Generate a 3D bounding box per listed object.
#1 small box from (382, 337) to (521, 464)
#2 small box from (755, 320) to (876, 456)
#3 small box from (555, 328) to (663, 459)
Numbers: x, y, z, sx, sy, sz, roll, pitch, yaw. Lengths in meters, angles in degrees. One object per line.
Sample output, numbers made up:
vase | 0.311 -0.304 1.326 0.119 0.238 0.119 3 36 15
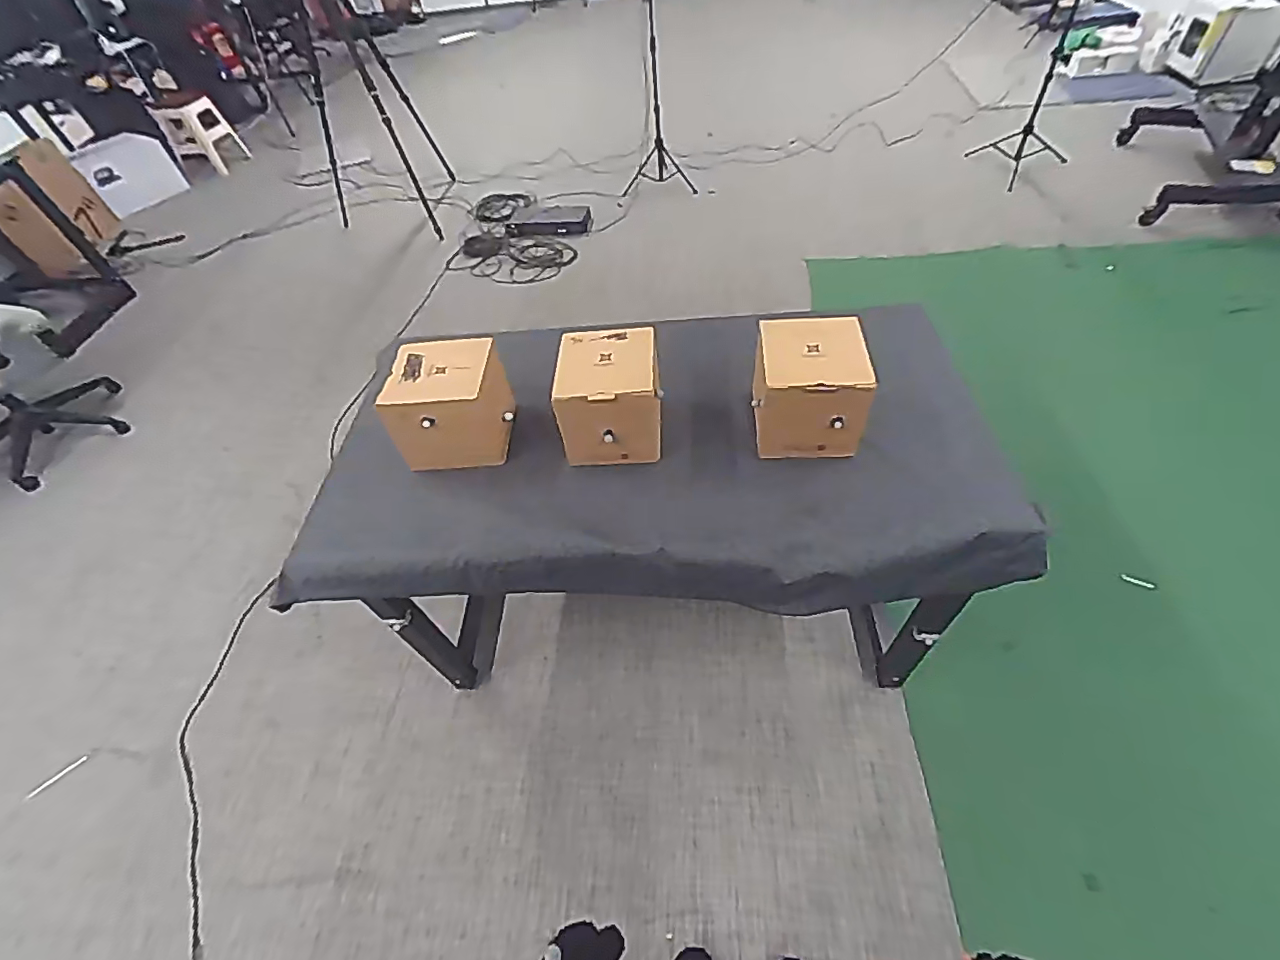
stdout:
small box | -0.336 -0.142 1.003 0.179 0.176 0.168 -3 51 3
small box | 0.292 -0.155 0.940 0.168 0.176 0.179 0 50 6
small box | -0.045 -0.148 0.975 0.168 0.176 0.179 -2 51 5
